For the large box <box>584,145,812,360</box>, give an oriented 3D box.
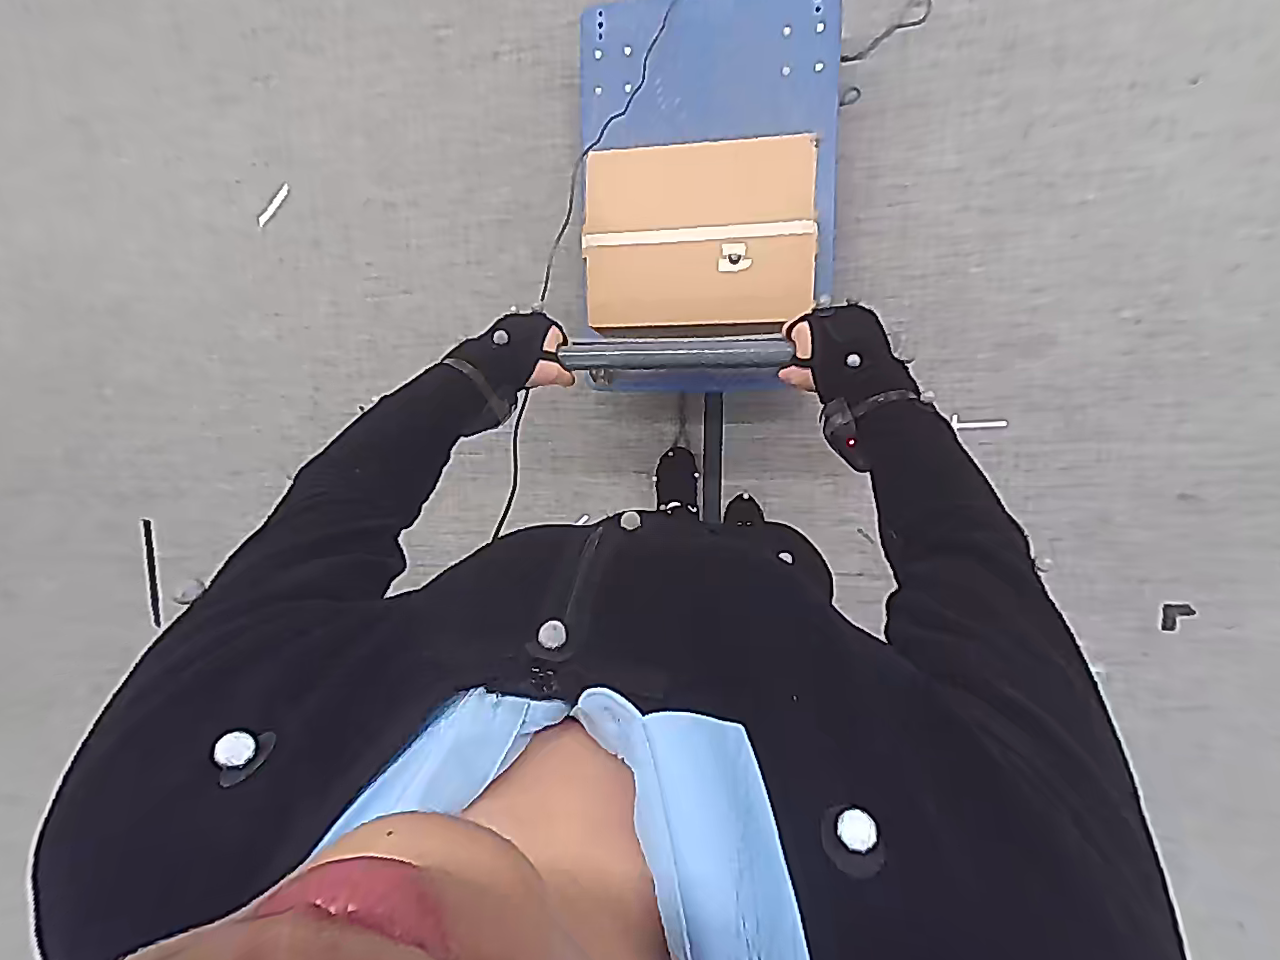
[{"bbox_3d":[0.117,-0.427,1.102,0.408,0.320,0.320,0,96,8],"label":"large box"}]
